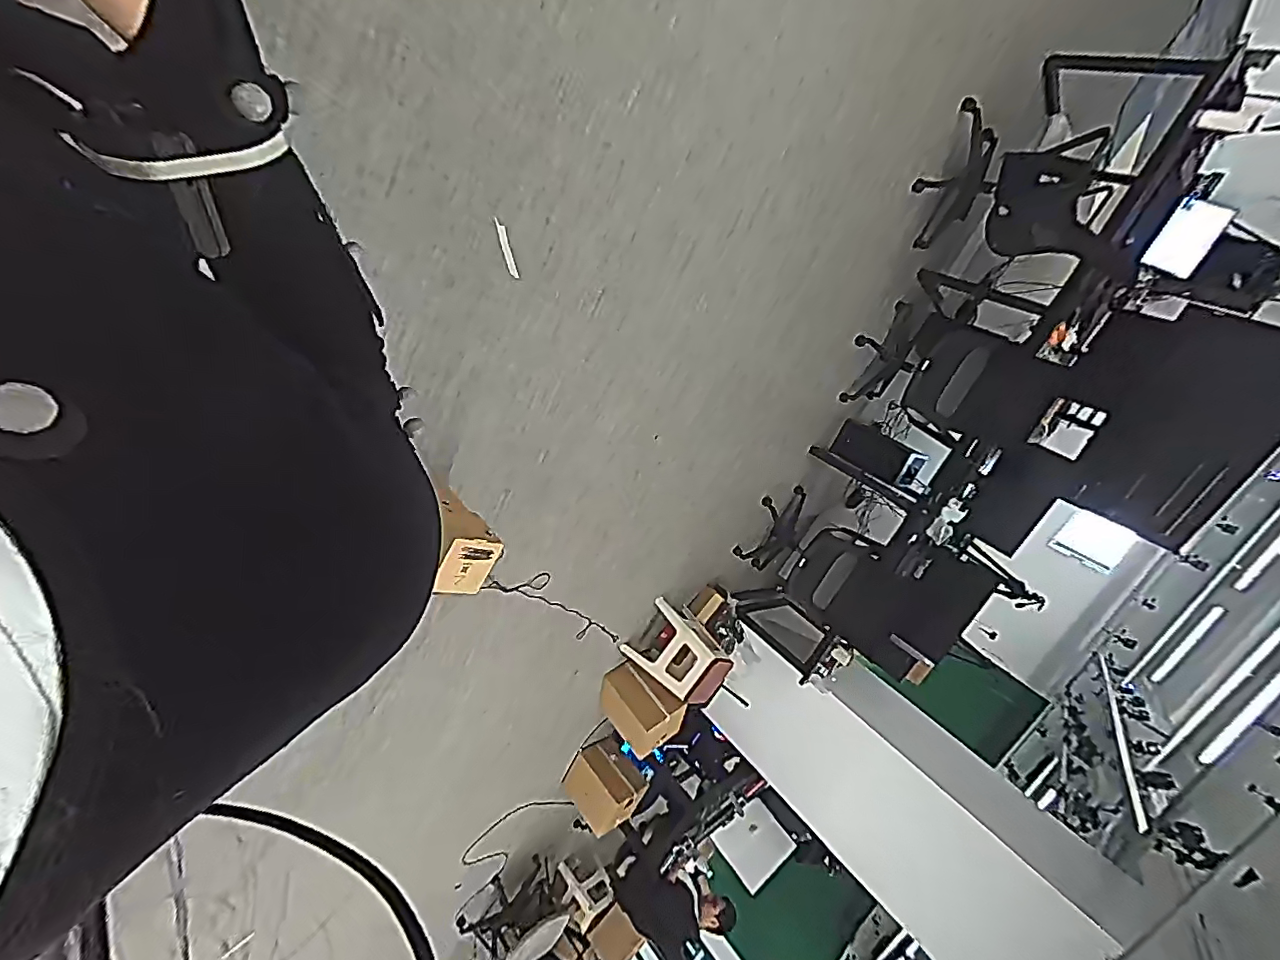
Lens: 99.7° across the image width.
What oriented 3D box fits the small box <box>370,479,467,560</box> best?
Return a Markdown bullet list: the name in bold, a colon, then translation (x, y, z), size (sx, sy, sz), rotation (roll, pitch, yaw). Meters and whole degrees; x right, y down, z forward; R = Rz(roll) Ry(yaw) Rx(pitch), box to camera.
- **small box**: translation (-0.650, 0.115, 1.585), size (0.179, 0.176, 0.168), rotation (21, 103, -53)
